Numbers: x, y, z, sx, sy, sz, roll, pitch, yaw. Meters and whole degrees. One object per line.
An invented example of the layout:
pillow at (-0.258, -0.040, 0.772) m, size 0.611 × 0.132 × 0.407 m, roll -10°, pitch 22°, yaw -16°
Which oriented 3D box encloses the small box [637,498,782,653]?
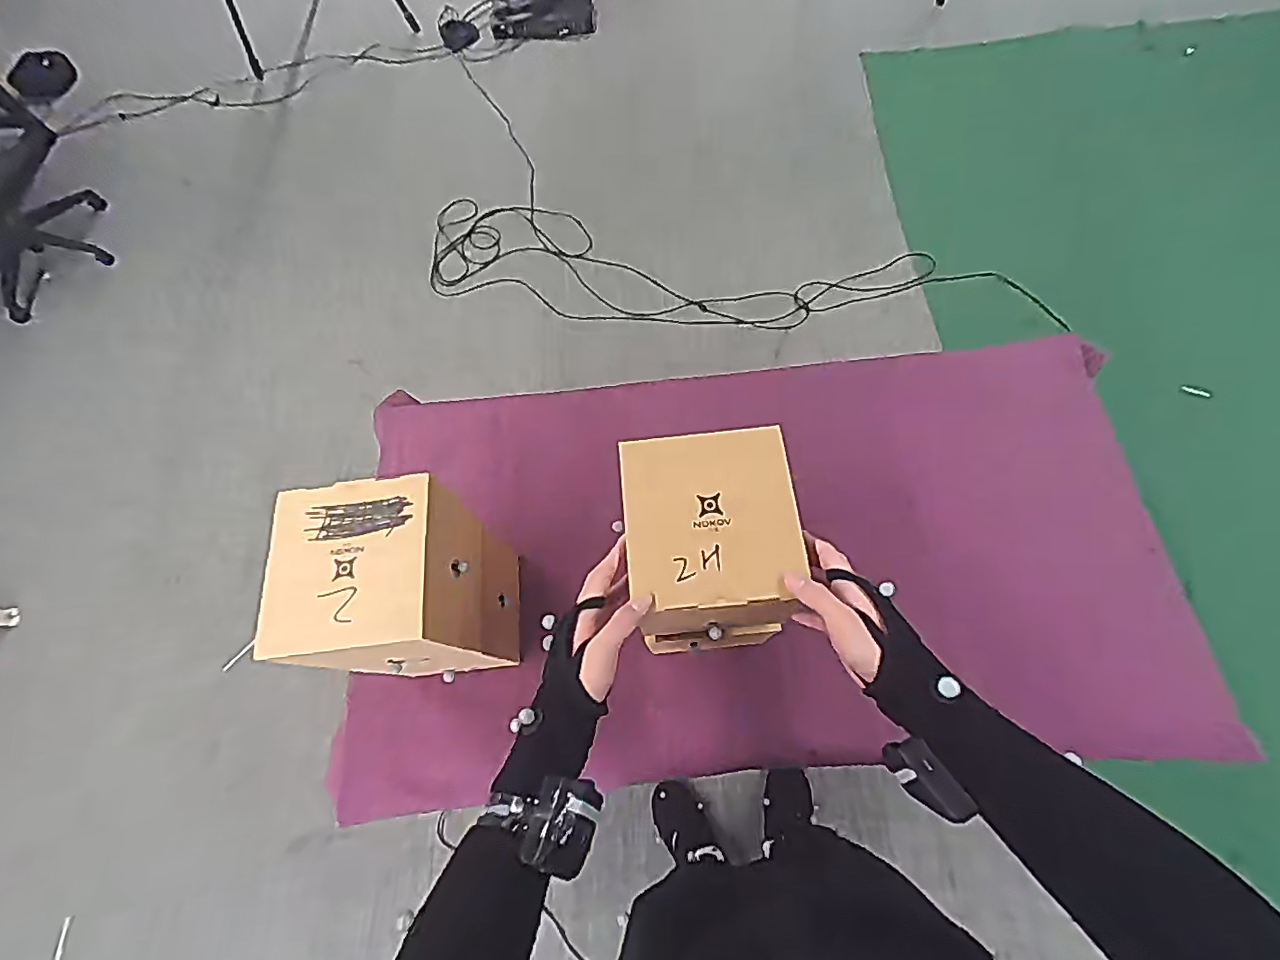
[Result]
small box at (0.090, 0.141, 0.749) m, size 0.168 × 0.176 × 0.179 m, roll -7°, pitch 66°, yaw 2°

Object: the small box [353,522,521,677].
small box at (-0.269, 0.174, 0.759) m, size 0.168 × 0.176 × 0.179 m, roll -7°, pitch 68°, yaw 2°
